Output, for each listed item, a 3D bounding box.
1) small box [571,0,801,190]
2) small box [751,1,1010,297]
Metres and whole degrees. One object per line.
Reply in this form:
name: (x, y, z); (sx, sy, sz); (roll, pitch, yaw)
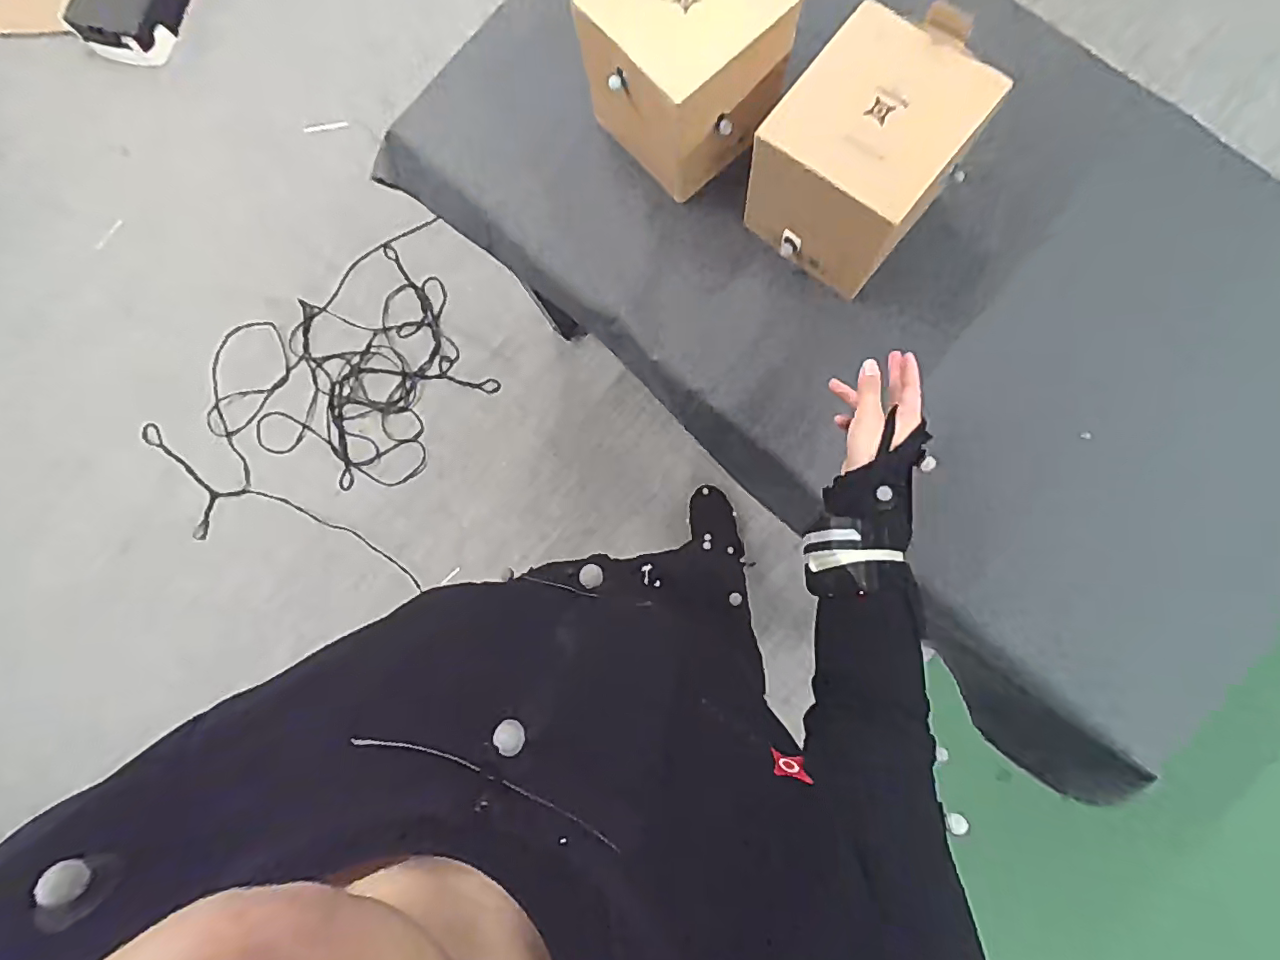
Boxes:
small box: (0.052, -0.474, 0.620); (0.168, 0.176, 0.179); (-41, 81, 0)
small box: (0.237, -0.340, 0.588); (0.168, 0.176, 0.179); (38, 89, 9)
